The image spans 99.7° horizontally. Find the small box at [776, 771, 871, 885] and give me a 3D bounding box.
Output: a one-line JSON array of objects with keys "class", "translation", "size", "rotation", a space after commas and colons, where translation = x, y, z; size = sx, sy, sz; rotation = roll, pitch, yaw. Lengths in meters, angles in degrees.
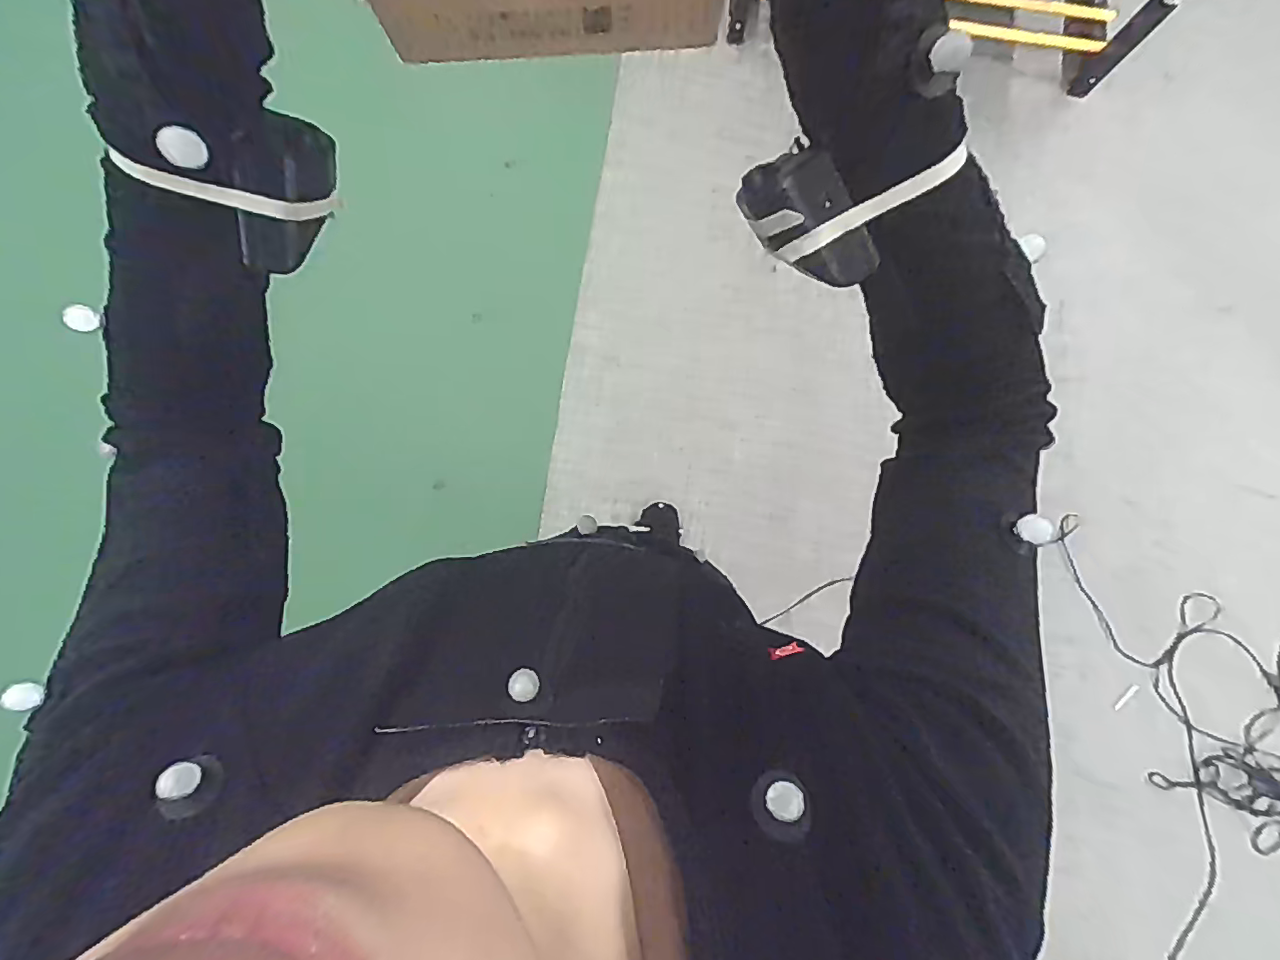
[{"class": "small box", "translation": [0.442, 0.840, 1.322], "size": [0.168, 0.176, 0.179], "rotation": [8, 83, -1]}]
